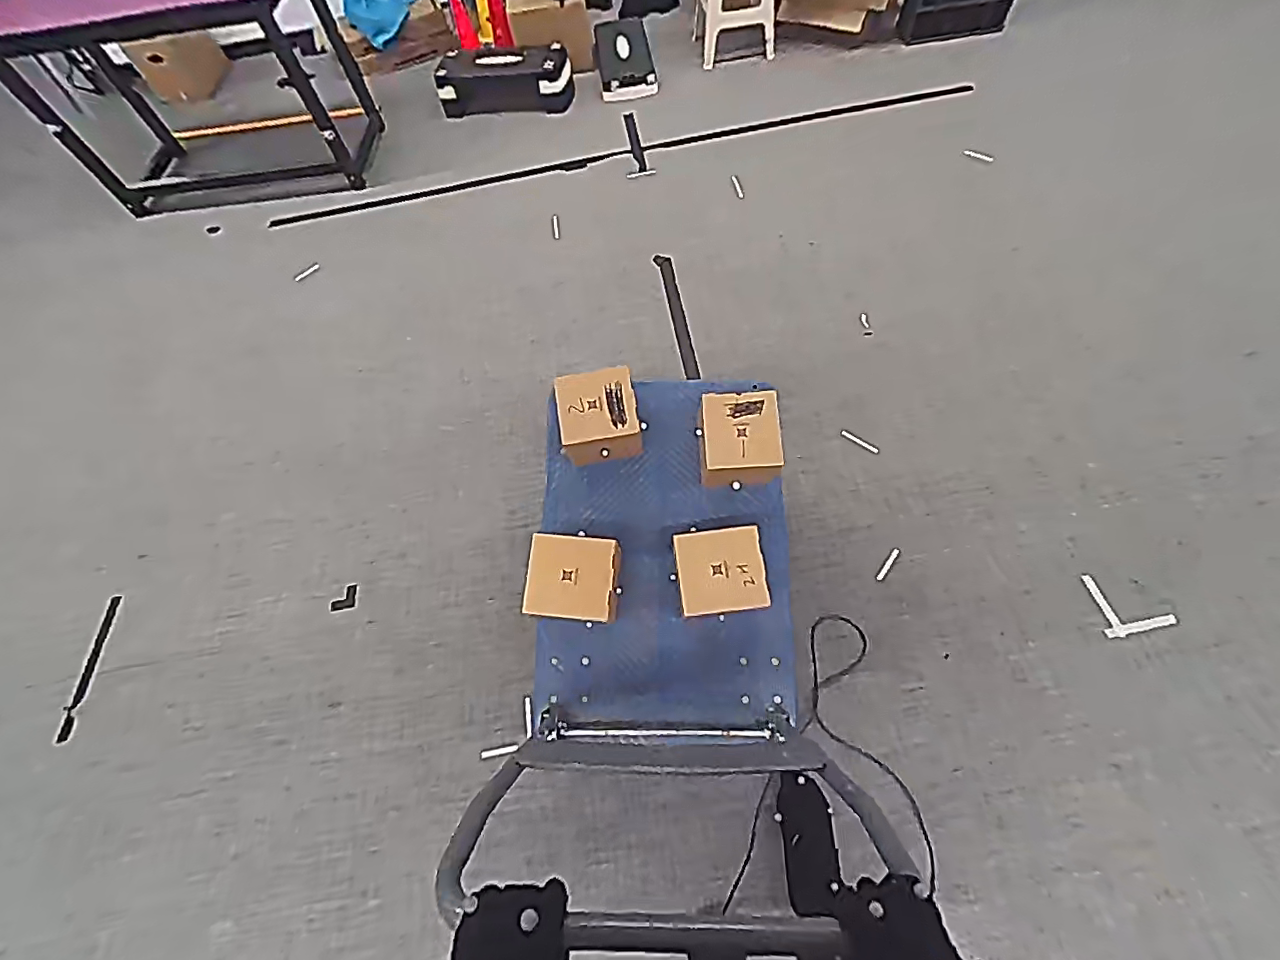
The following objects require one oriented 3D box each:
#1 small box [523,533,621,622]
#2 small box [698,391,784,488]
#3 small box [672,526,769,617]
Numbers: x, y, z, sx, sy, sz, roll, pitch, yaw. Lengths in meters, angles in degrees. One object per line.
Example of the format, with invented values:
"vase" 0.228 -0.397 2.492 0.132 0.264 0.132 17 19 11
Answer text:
"small box" -0.140 0.217 1.176 0.179 0.176 0.168 4 75 3
"small box" 0.224 -0.089 1.241 0.168 0.176 0.179 -3 75 2
"small box" 0.166 0.202 1.164 0.179 0.176 0.168 -7 75 1
